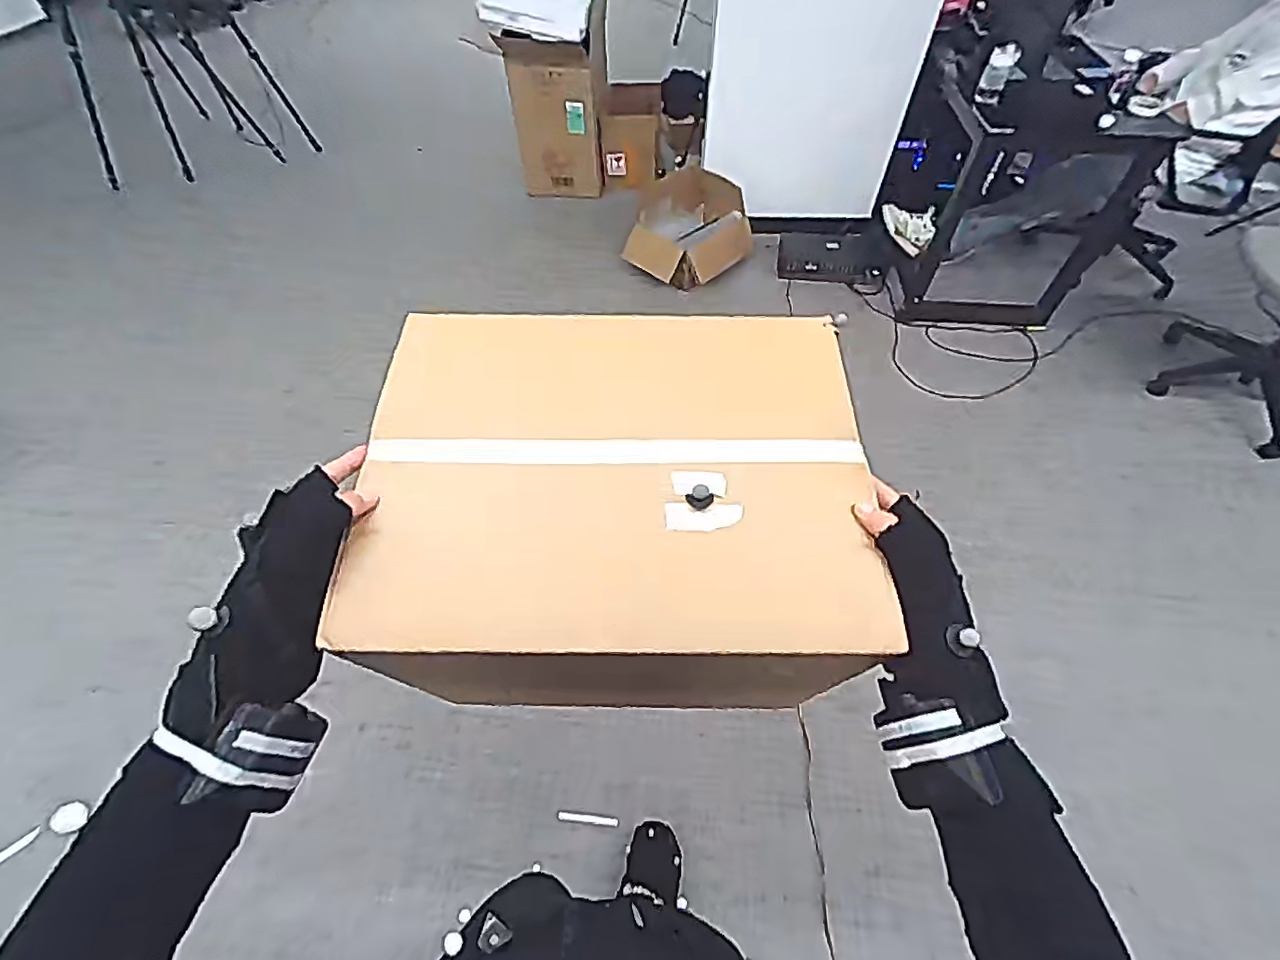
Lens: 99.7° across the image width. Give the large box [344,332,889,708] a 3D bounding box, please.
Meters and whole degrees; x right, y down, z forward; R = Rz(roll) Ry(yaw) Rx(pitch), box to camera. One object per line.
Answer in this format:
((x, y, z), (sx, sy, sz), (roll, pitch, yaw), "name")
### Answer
((-0.019, 0.060, 0.590), (0.408, 0.320, 0.320), (0, 60, 0), "large box")
